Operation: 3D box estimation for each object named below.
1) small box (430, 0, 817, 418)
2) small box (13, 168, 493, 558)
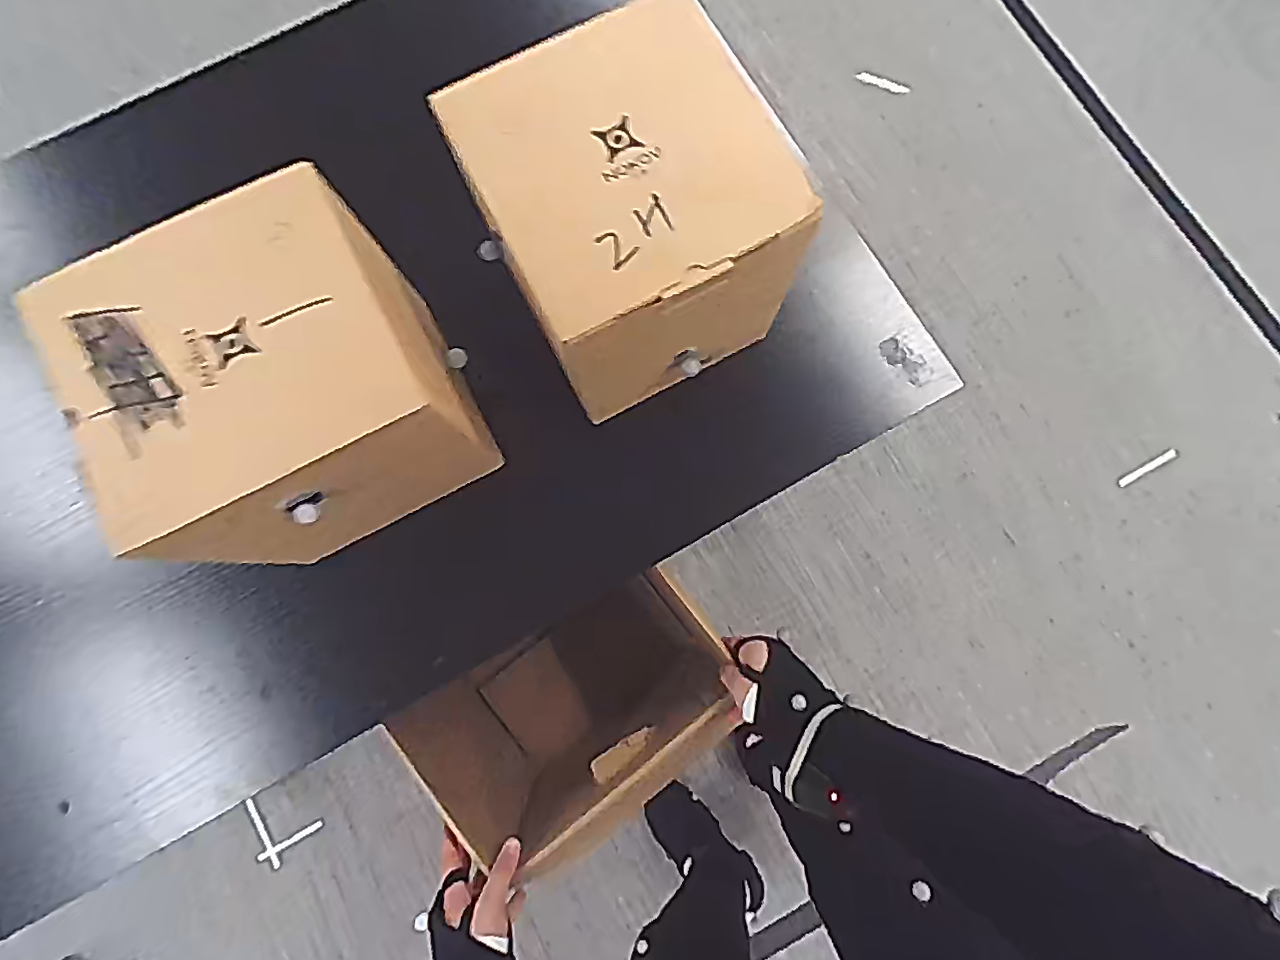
[{"bbox_3d":[-0.011,-0.169,0.382,0.168,0.176,0.179,-28,82,-3],"label":"small box"},{"bbox_3d":[-0.228,-0.055,0.366,0.179,0.176,0.168,-27,82,-5],"label":"small box"}]
